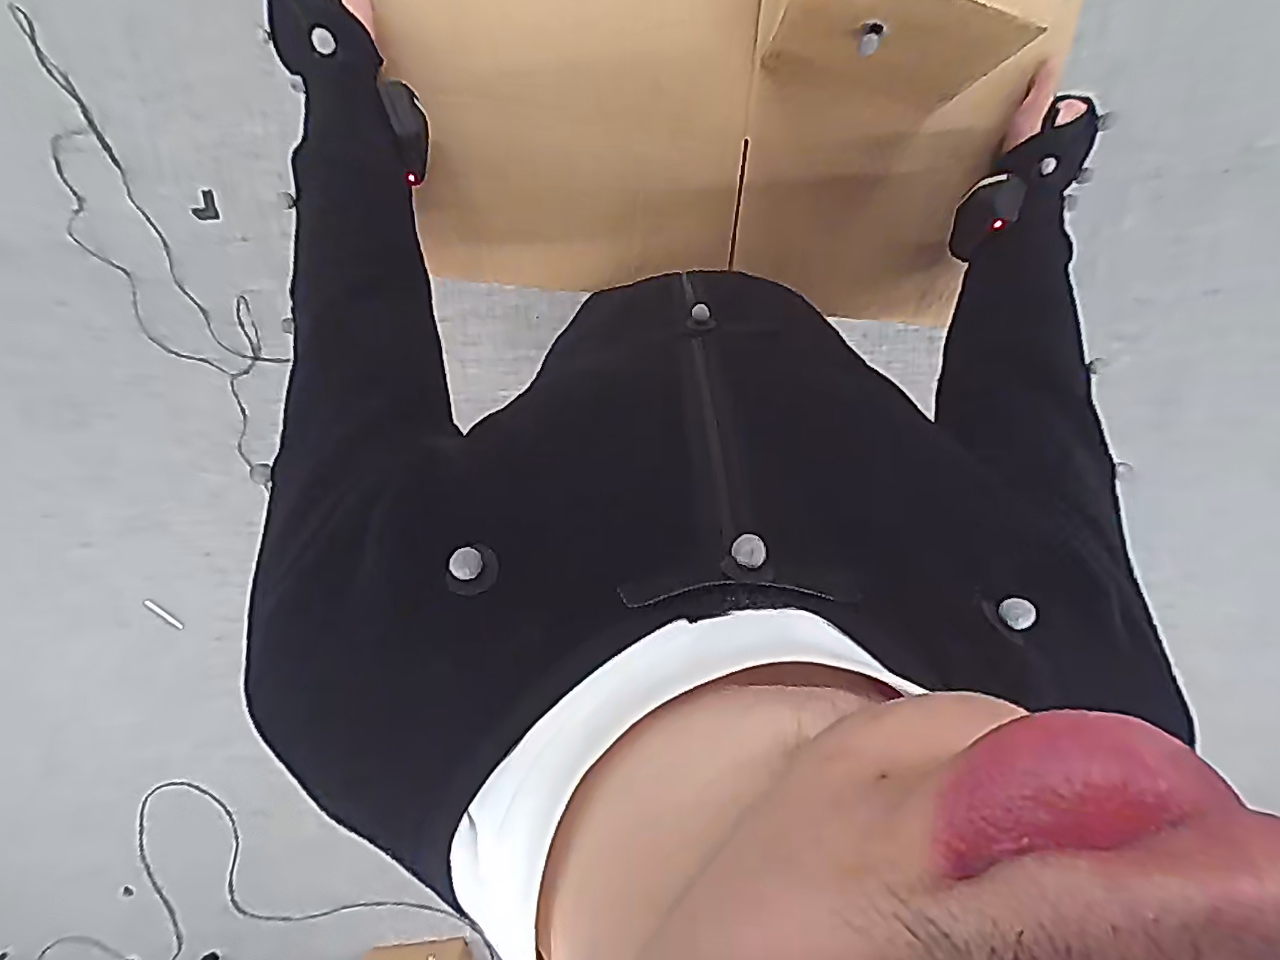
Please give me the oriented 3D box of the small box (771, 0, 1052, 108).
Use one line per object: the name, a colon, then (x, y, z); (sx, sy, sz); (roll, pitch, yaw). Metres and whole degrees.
small box: (0.223, -0.438, 0.435); (0.179, 0.176, 0.168); (15, 105, -4)
